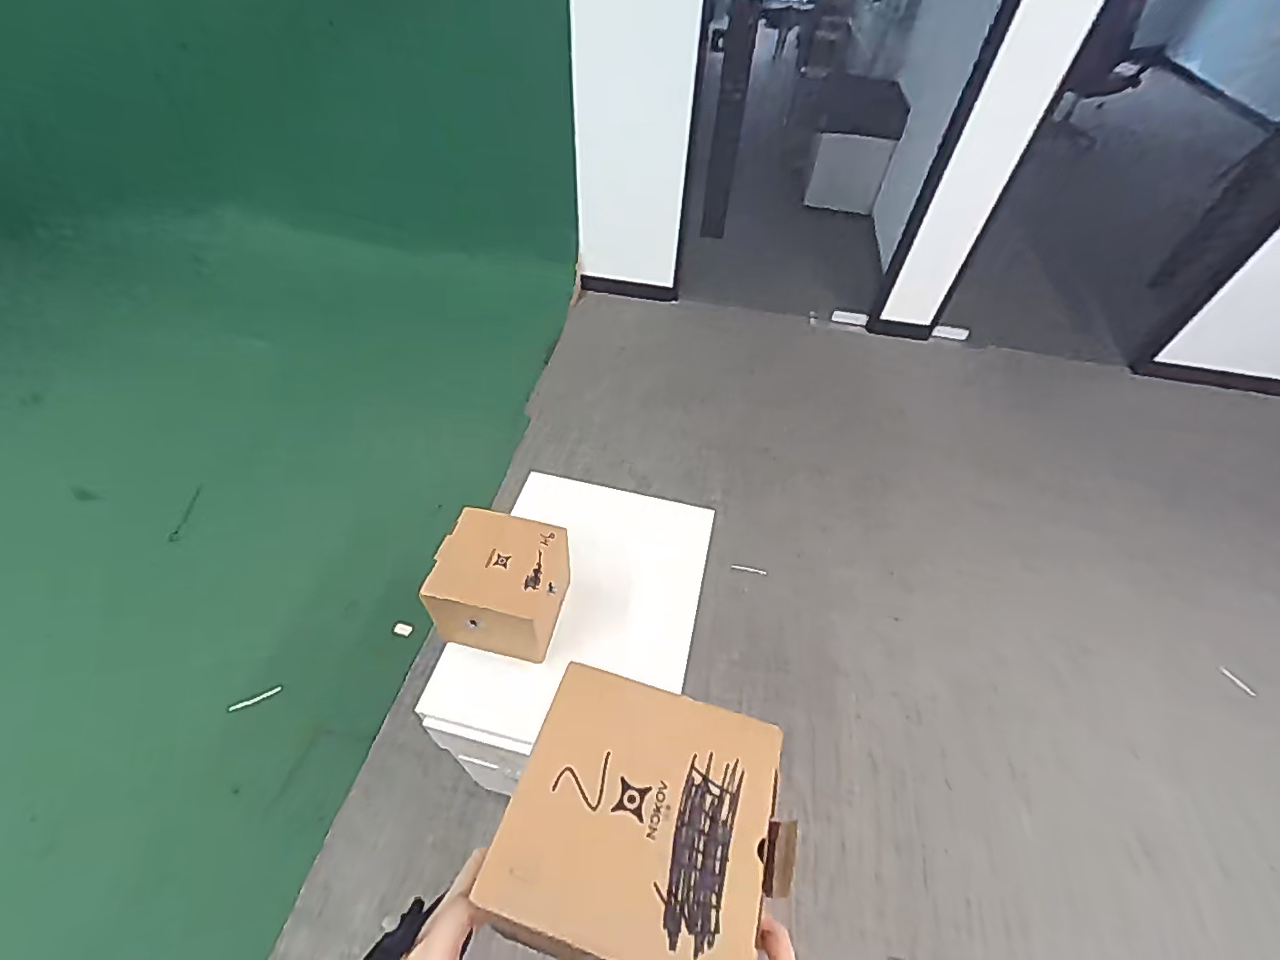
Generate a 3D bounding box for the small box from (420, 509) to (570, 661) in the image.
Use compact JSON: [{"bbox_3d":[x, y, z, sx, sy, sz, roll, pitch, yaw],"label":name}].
[{"bbox_3d":[-0.221,0.174,0.880,0.179,0.176,0.168,12,51,5],"label":"small box"}]
